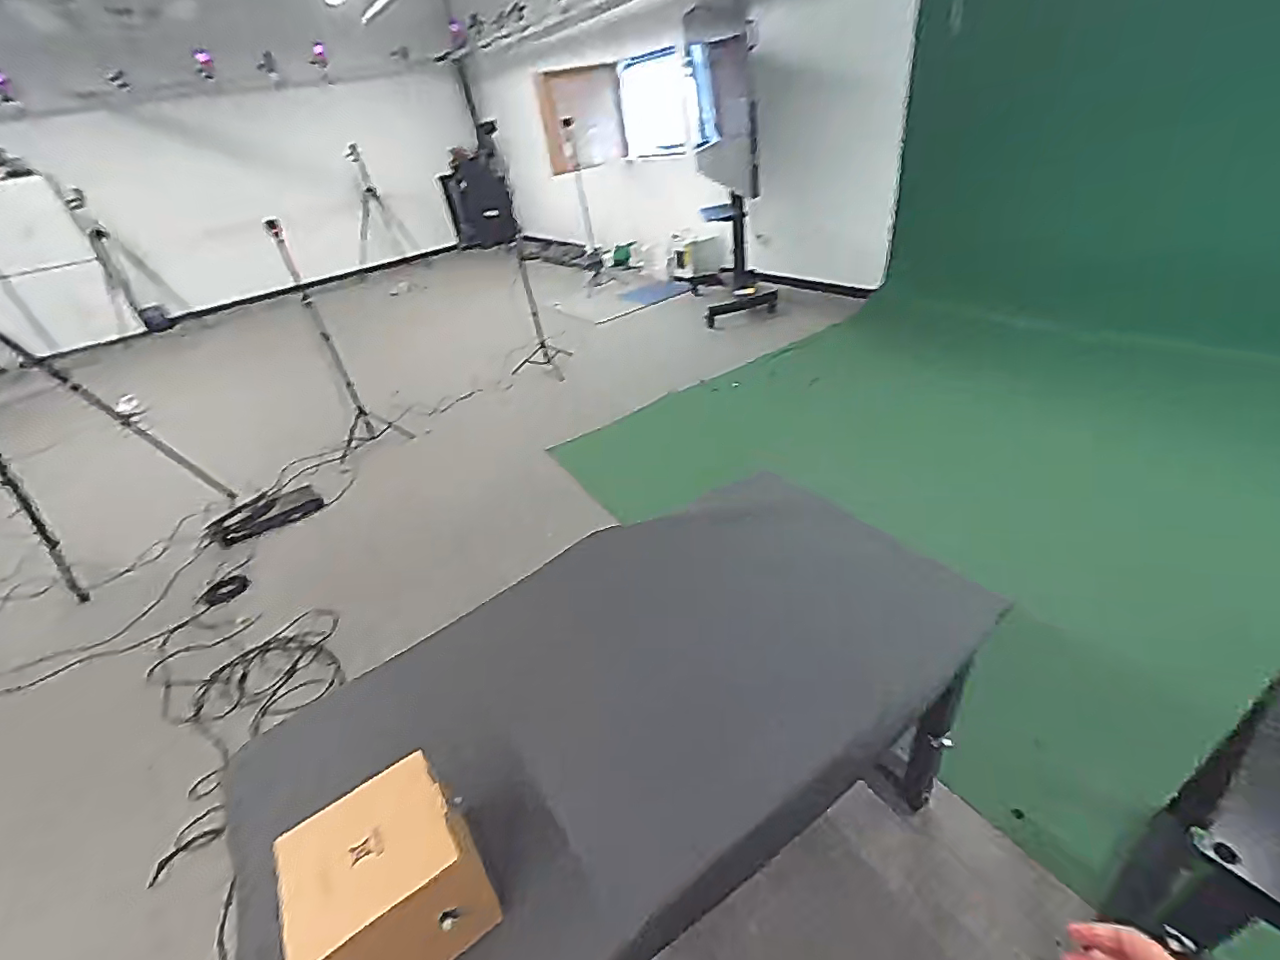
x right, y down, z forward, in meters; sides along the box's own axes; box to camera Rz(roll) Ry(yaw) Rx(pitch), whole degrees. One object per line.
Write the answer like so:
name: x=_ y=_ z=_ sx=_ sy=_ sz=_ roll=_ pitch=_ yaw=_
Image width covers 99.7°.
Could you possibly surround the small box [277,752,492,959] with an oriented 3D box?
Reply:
small box: x=-0.296 y=0.483 z=0.652 sx=0.179 sy=0.176 sz=0.168 roll=-29 pitch=36 yaw=-24
